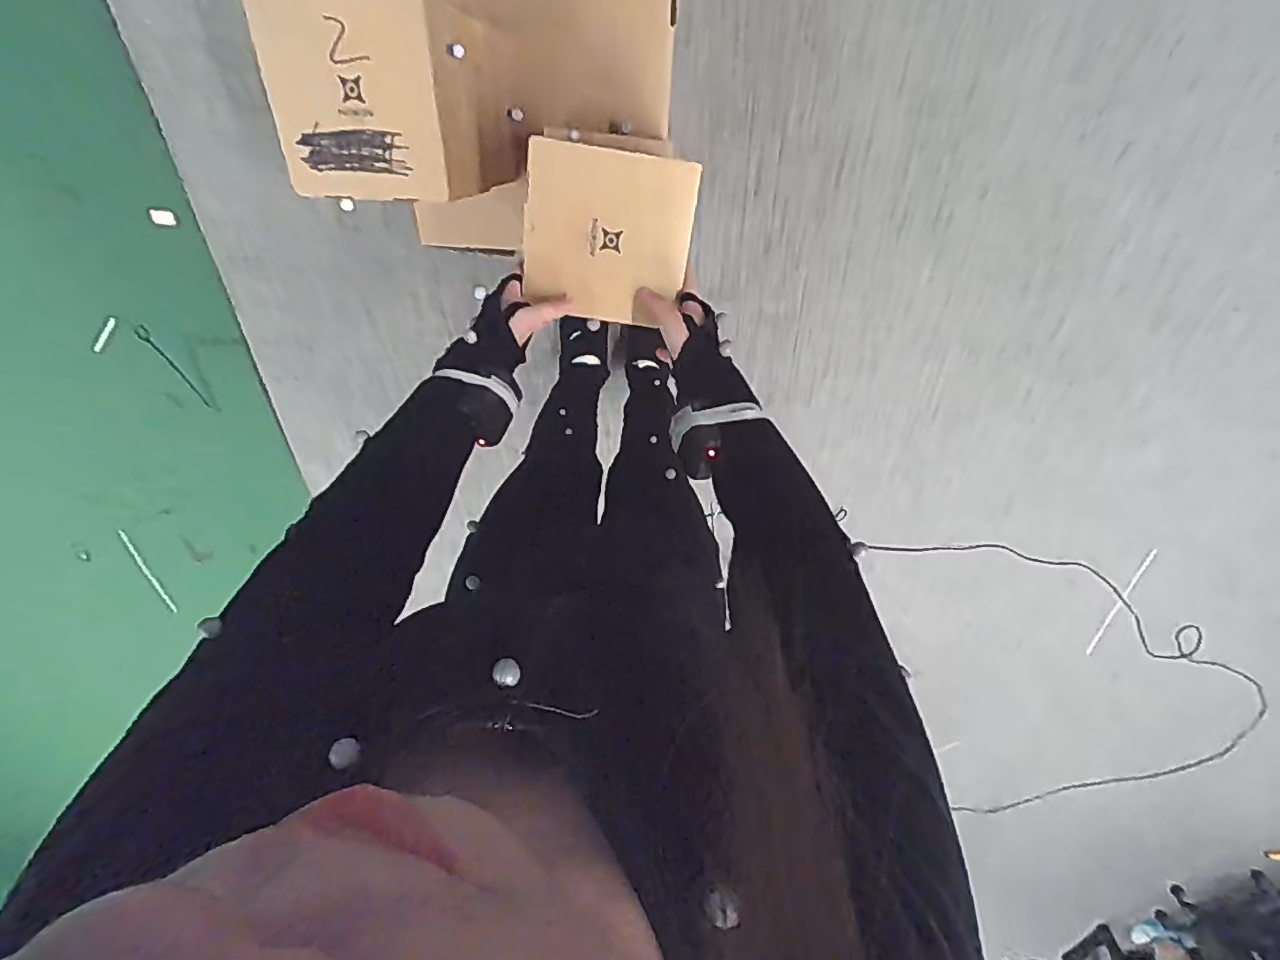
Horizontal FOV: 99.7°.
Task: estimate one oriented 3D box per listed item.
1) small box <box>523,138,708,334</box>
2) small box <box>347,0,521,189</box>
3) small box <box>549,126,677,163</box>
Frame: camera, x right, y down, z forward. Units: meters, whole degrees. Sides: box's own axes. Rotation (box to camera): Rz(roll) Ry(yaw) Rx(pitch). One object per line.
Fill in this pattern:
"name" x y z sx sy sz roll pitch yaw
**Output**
"small box" -0.029 -0.280 0.633 0.179 0.176 0.168 8 114 -2
"small box" -0.261 -0.504 0.728 0.168 0.176 0.179 6 122 -1
"small box" -0.042 -0.402 0.788 0.168 0.176 0.179 5 122 -4
